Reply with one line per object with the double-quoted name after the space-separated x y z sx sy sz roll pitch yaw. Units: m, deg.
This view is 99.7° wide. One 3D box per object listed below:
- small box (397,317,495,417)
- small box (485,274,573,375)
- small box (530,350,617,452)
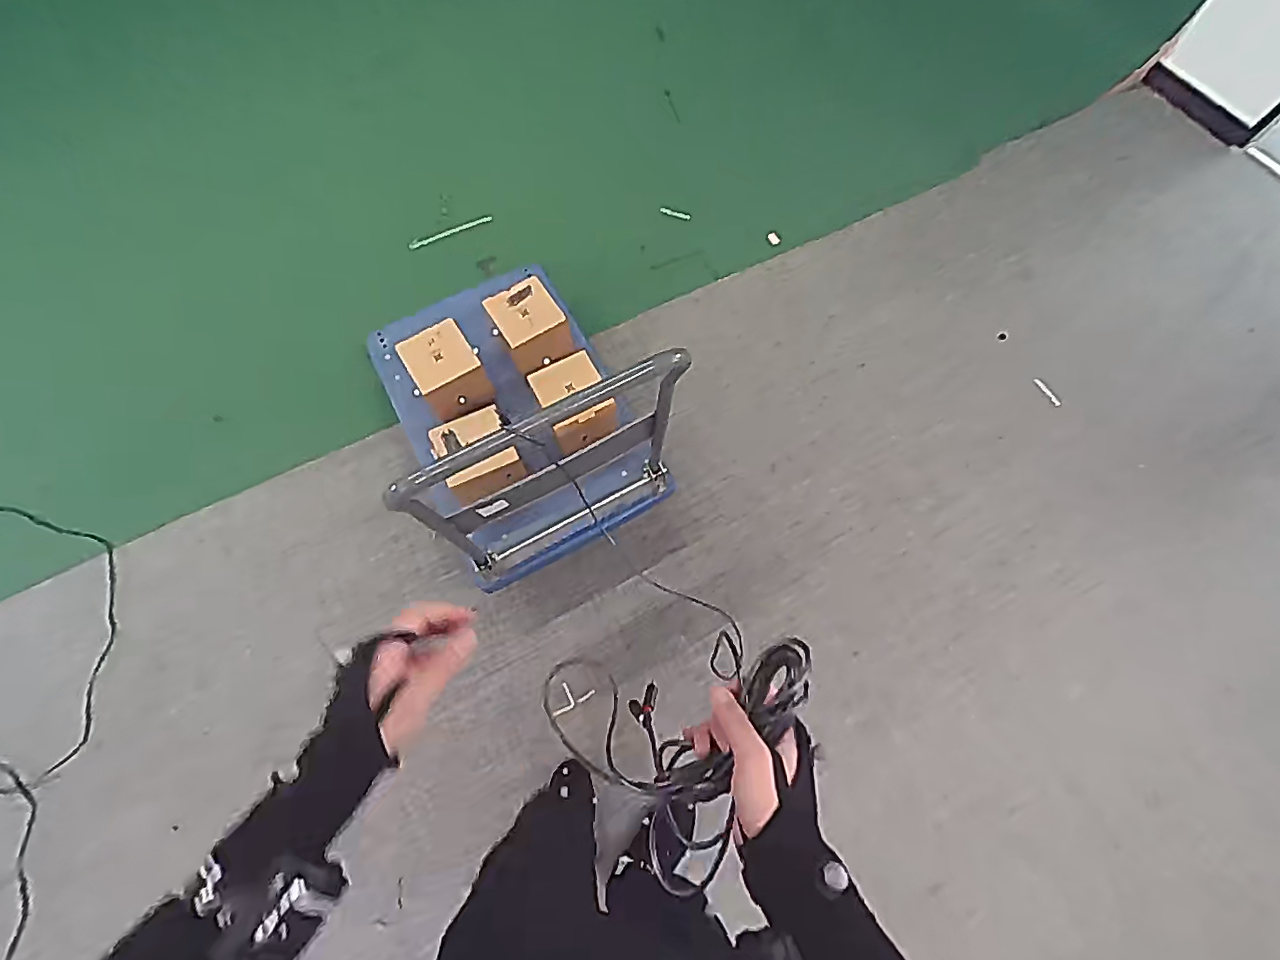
-0.512 -0.293 1.453 0.168 0.176 0.179 -31 73 -11 "small box"
-0.302 -0.423 1.500 0.168 0.176 0.179 -32 74 -10 "small box"
-0.170 -0.202 1.420 0.168 0.176 0.179 -27 73 -9 "small box"
